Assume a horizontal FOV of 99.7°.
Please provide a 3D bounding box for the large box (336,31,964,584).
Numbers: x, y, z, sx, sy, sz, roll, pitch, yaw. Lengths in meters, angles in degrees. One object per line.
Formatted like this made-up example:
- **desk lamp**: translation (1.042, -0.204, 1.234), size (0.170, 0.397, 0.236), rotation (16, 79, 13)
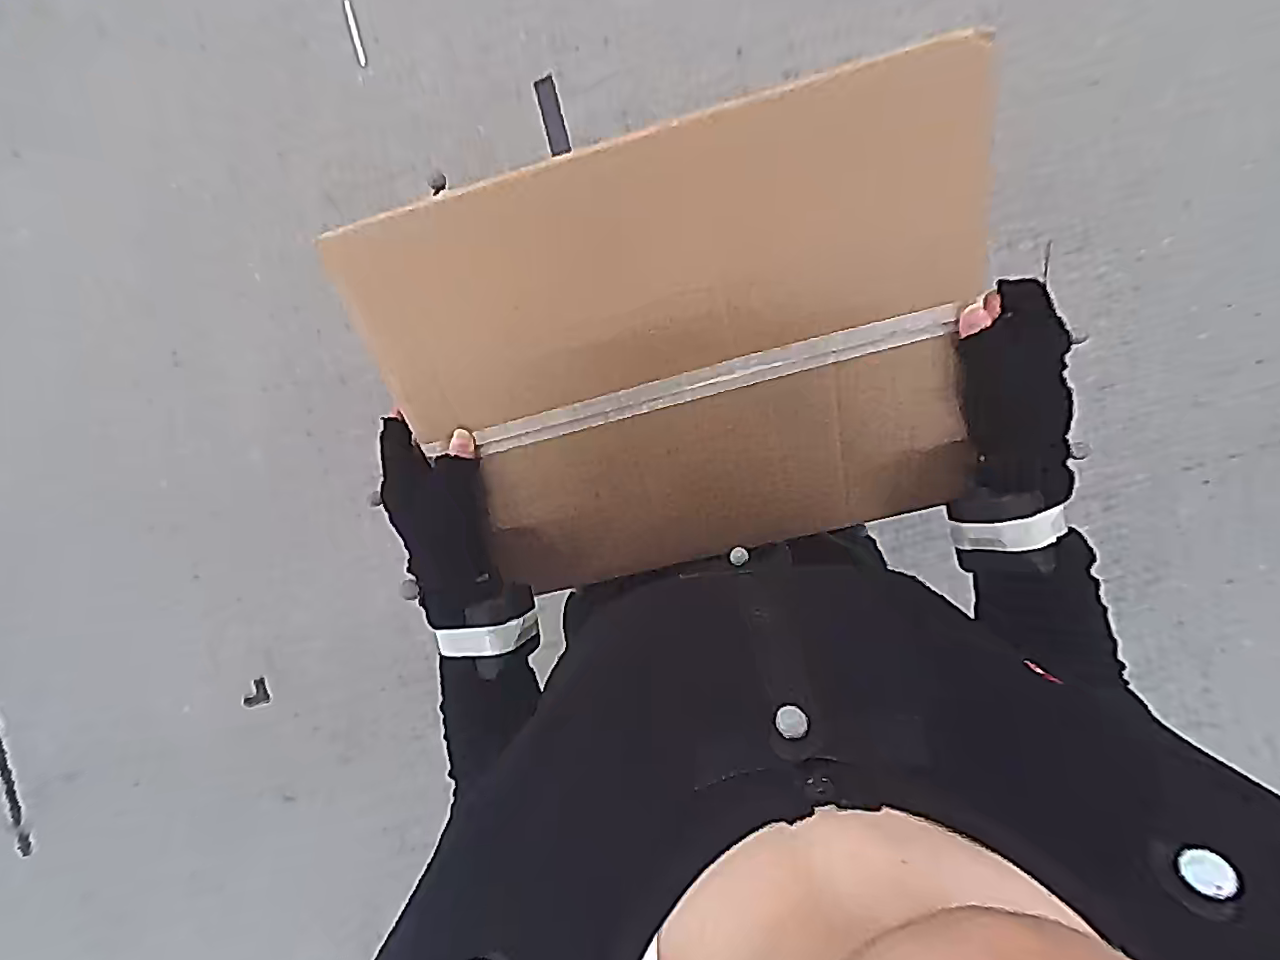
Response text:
- **large box**: translation (0.026, -0.151, 0.526), size (0.408, 0.320, 0.320), rotation (-14, 121, 6)
